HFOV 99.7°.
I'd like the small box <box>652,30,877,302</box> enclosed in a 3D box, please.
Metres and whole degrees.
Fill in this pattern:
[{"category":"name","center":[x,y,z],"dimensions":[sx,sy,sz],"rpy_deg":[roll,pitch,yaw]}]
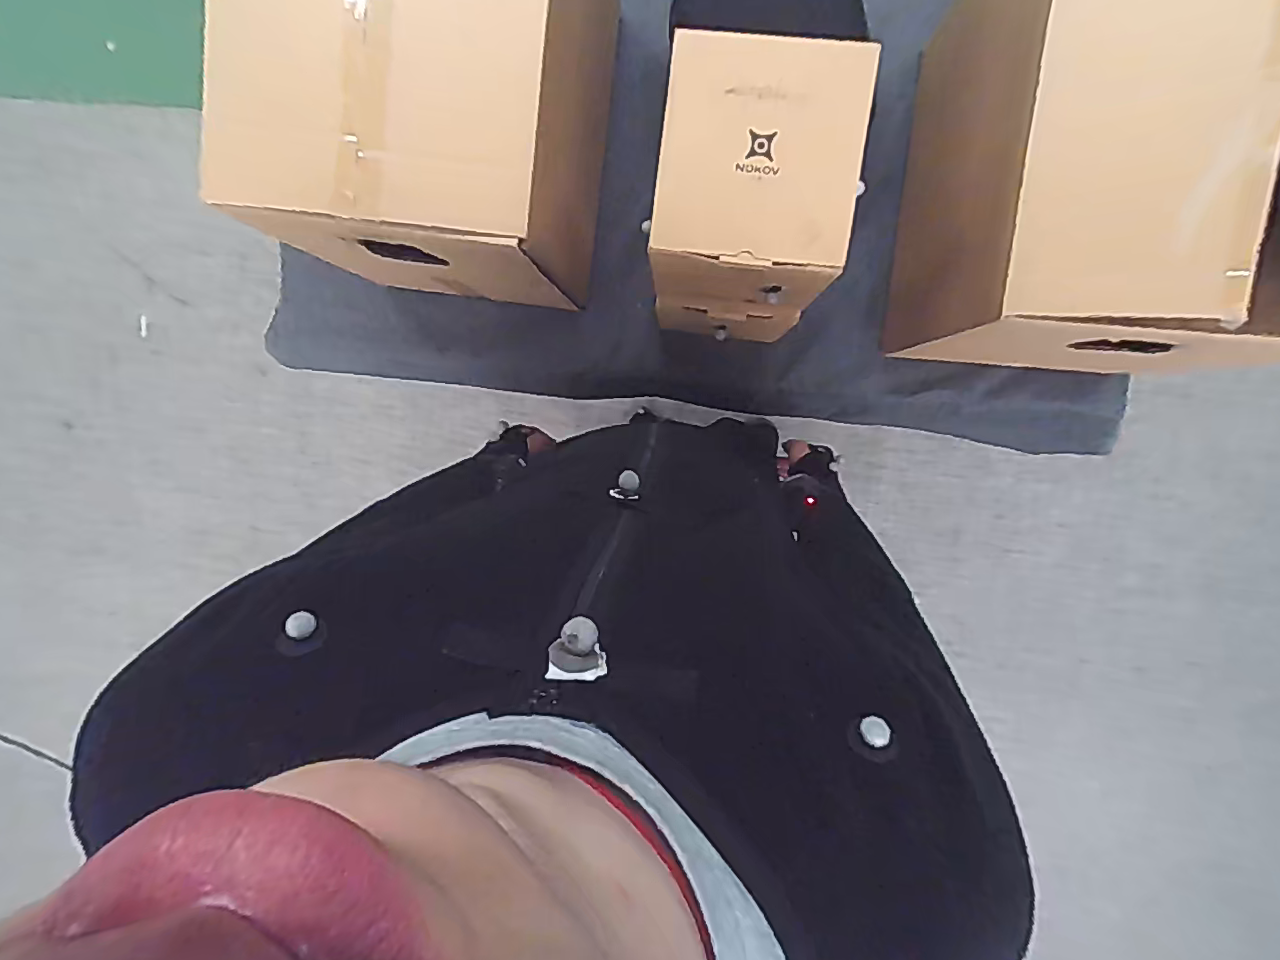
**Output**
[{"category":"small box","center":[0.106,-0.281,0.525],"dimensions":[0.168,0.176,0.179],"rpy_deg":[6,96,2]}]
